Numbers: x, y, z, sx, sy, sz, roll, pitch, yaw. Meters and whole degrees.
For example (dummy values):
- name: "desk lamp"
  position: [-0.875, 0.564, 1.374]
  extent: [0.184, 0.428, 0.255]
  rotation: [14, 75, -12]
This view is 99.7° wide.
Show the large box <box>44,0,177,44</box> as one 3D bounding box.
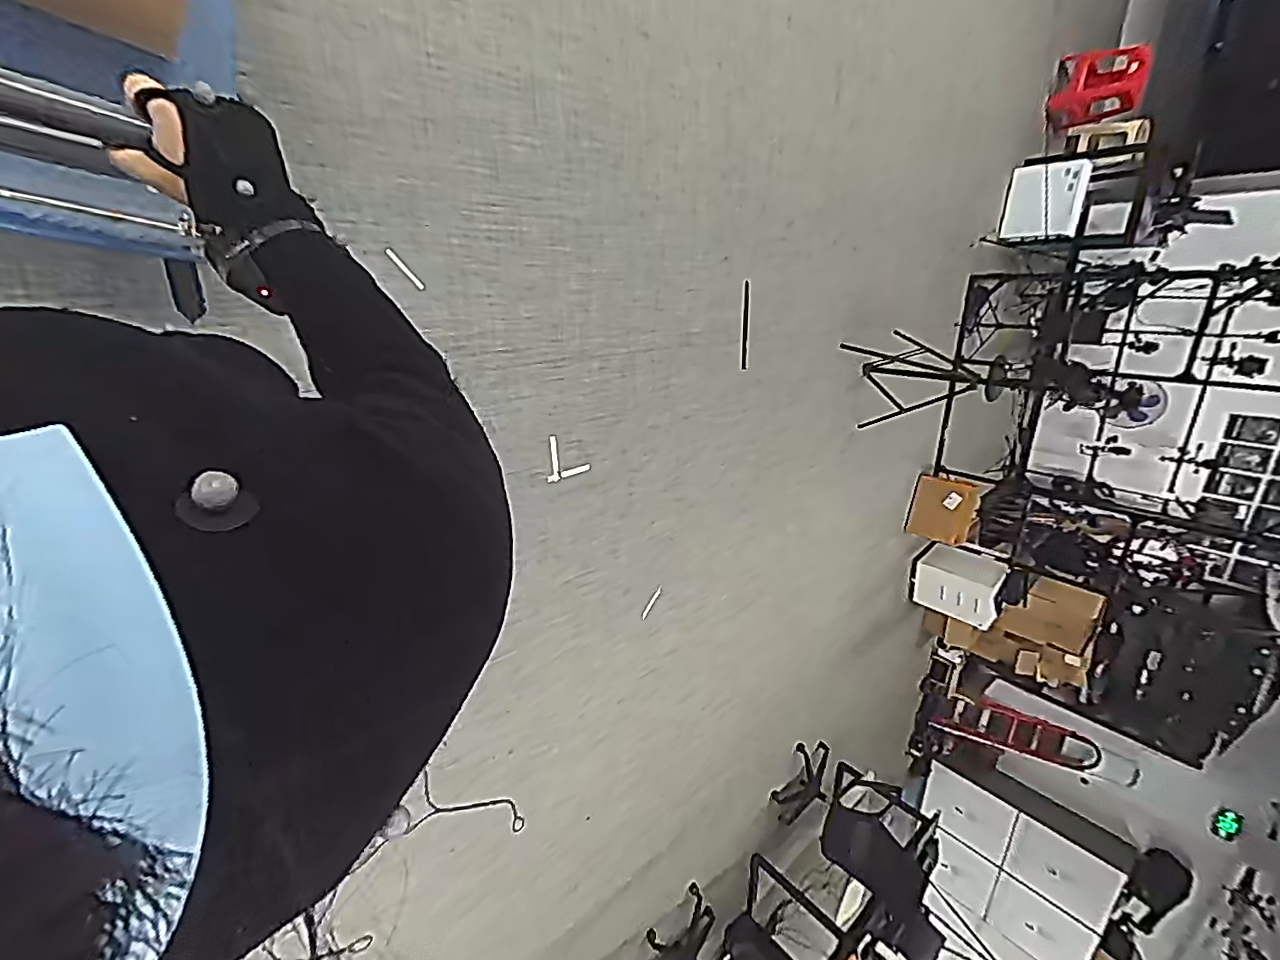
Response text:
- name: "large box"
  position: [-0.810, -0.815, 0.628]
  extent: [0.408, 0.320, 0.320]
  rotation: [-2, 105, -42]
